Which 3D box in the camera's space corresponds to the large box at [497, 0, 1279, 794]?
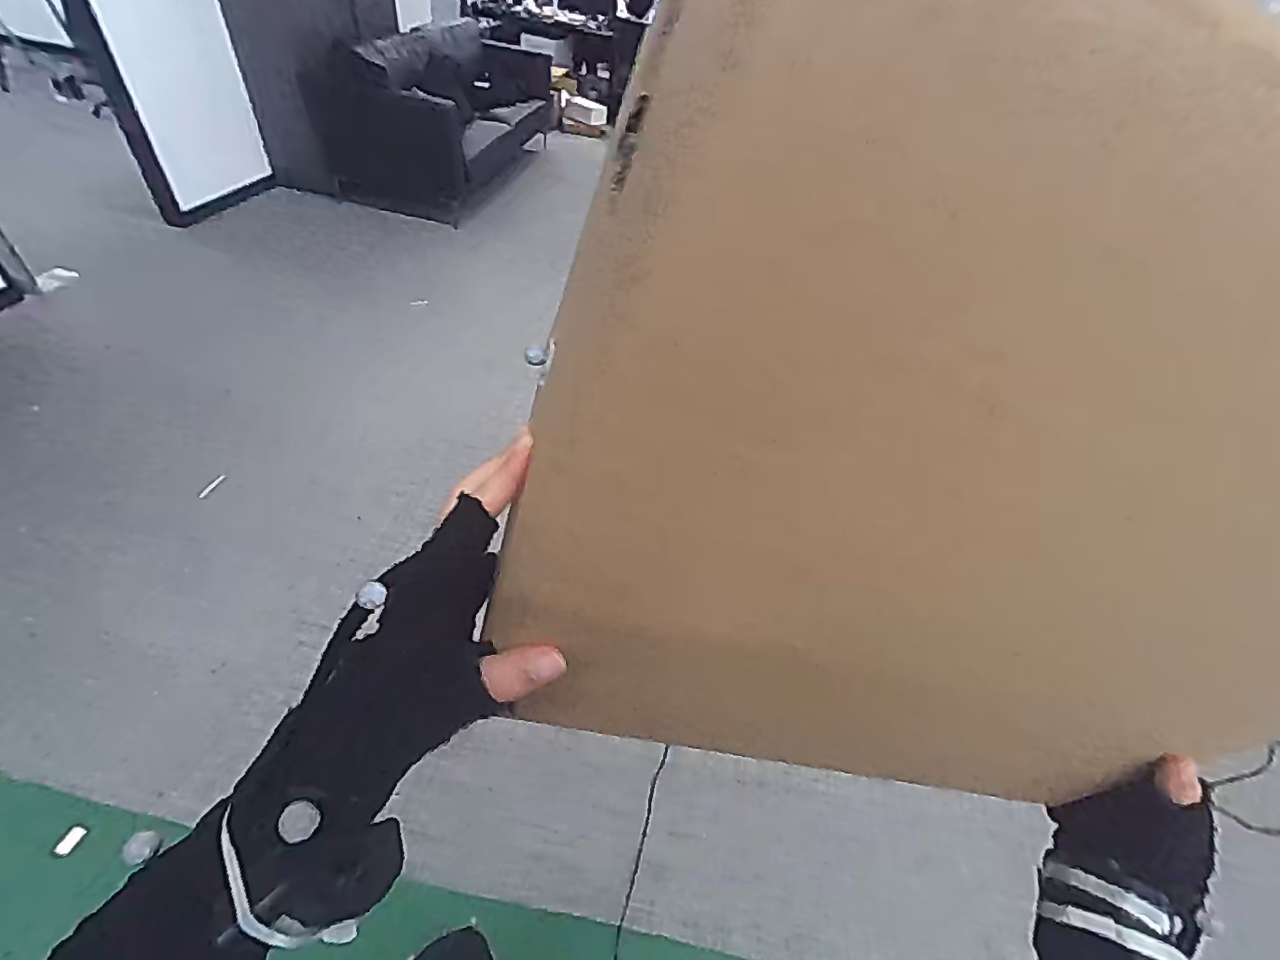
[{"bbox_3d":[0.163,-0.035,0.331,0.408,0.320,0.320,17,43,-17],"label":"large box"}]
